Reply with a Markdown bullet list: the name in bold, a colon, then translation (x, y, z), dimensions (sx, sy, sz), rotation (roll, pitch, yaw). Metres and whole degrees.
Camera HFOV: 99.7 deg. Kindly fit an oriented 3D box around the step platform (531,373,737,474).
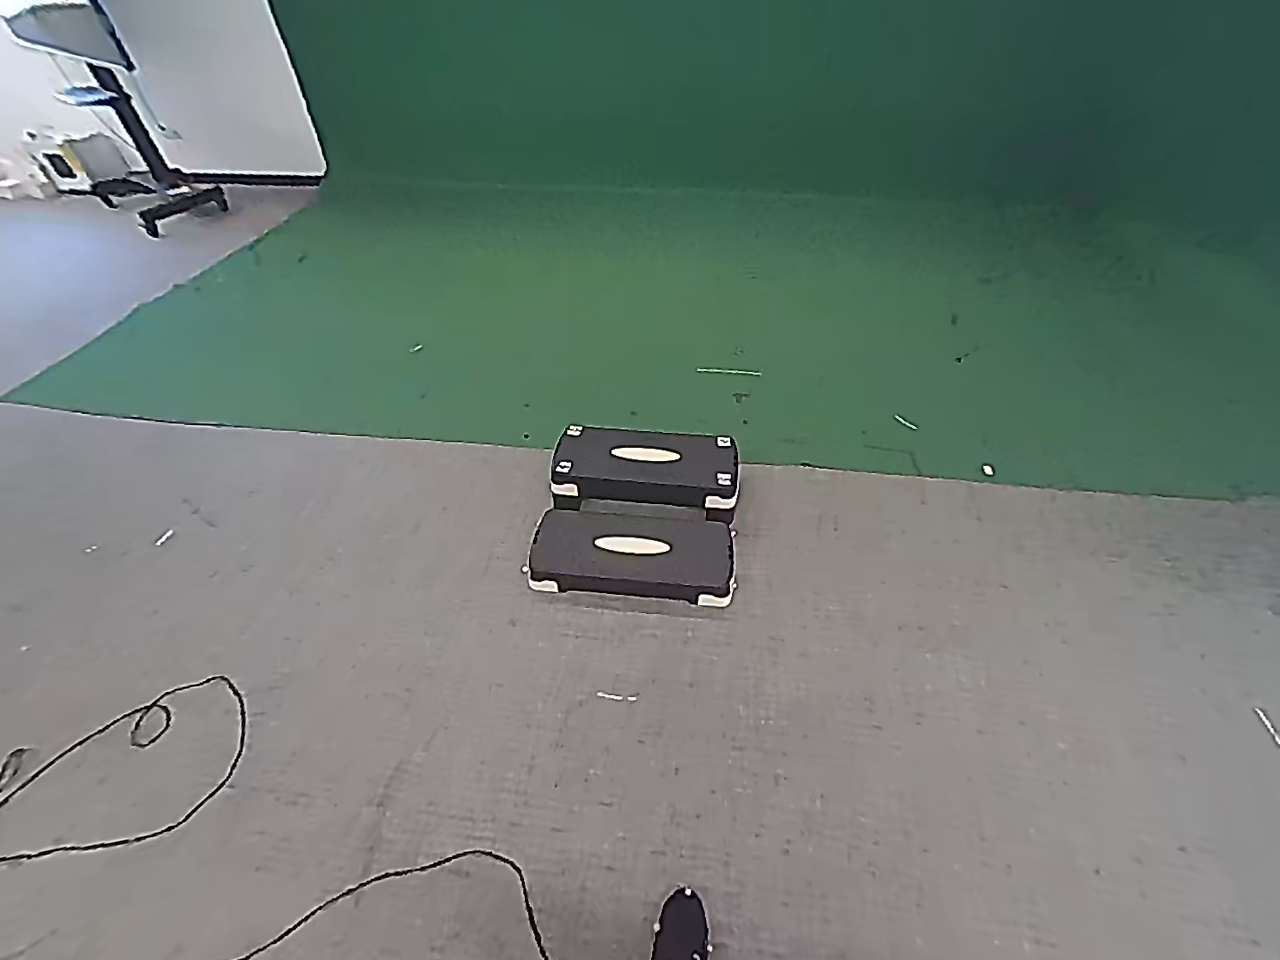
- **step platform**: translation (-0.016, -0.197, 1.876), dimensions (0.684, 0.204, 0.286), rotation (4, 46, 5)
